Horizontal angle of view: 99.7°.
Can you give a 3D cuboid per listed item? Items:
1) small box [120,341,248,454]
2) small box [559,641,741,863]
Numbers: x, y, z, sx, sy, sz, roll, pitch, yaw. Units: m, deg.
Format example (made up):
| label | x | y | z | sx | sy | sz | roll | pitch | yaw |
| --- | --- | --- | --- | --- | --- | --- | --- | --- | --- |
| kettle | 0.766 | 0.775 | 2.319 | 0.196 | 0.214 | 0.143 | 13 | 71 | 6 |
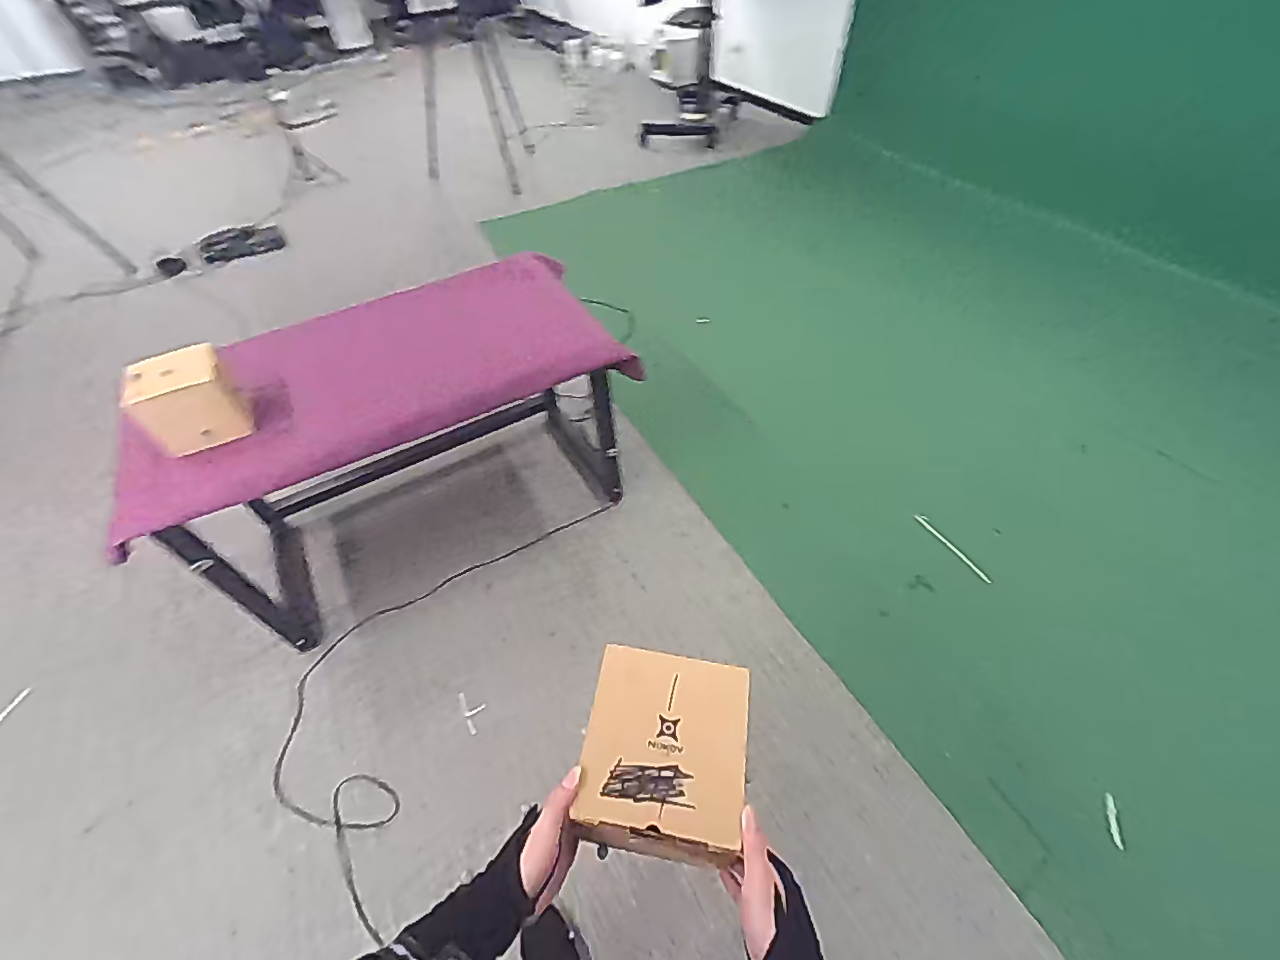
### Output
| label | x | y | z | sx | sy | sz | roll | pitch | yaw |
| --- | --- | --- | --- | --- | --- | --- | --- | --- | --- |
| small box | -1.052 | -0.192 | 1.266 | 0.179 | 0.176 | 0.168 | -23 | 52 | -18 |
| small box | 0.016 | 0.310 | 0.610 | 0.168 | 0.176 | 0.179 | 8 | 49 | 4 |
